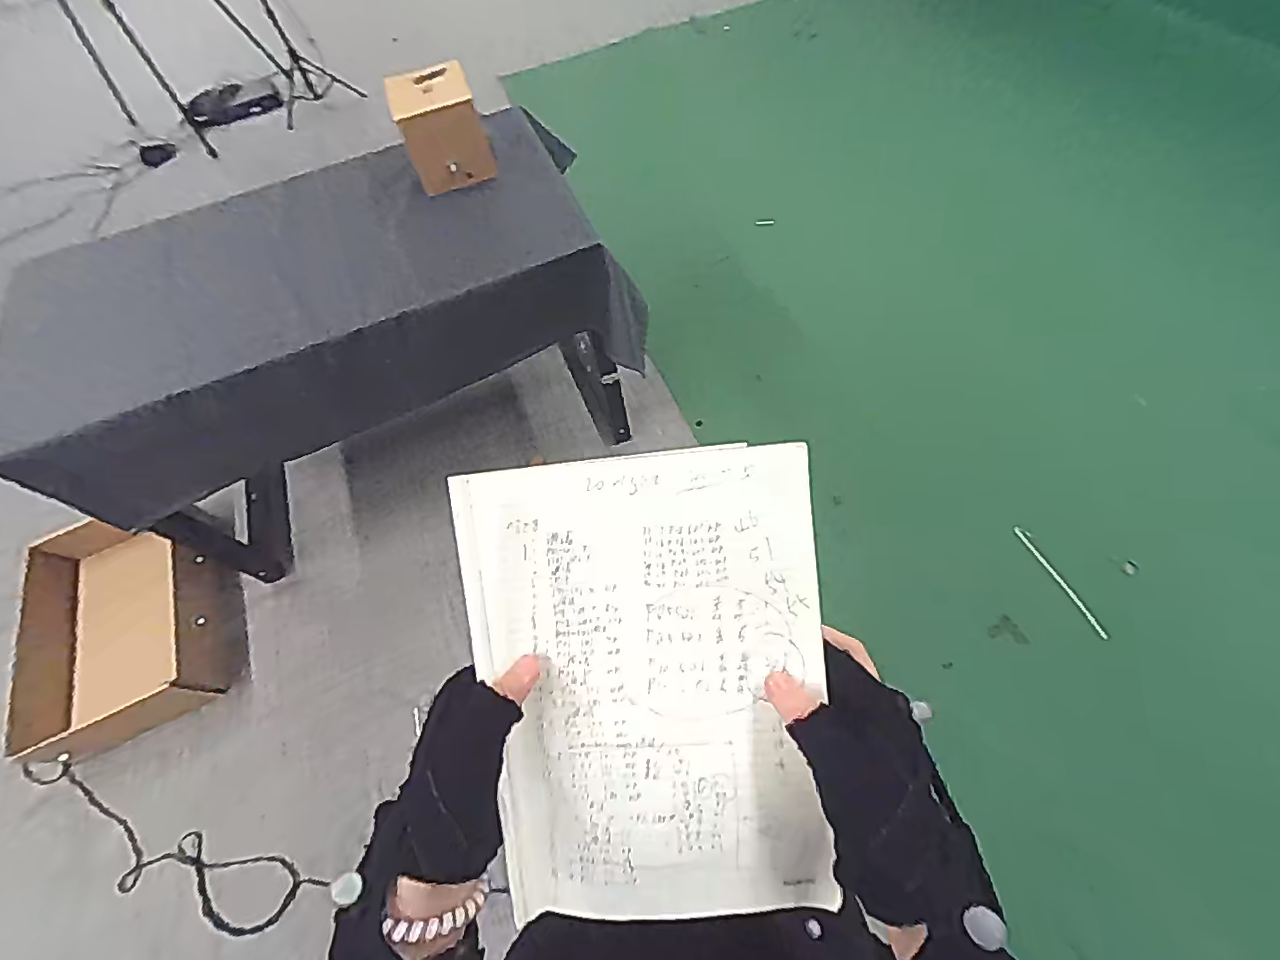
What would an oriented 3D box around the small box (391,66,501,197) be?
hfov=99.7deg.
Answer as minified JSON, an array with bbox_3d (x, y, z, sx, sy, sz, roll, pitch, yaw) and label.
[{"bbox_3d":[-0.426,-0.768,1.199,0.168,0.176,0.179,-20,62,-4],"label":"small box"}]
